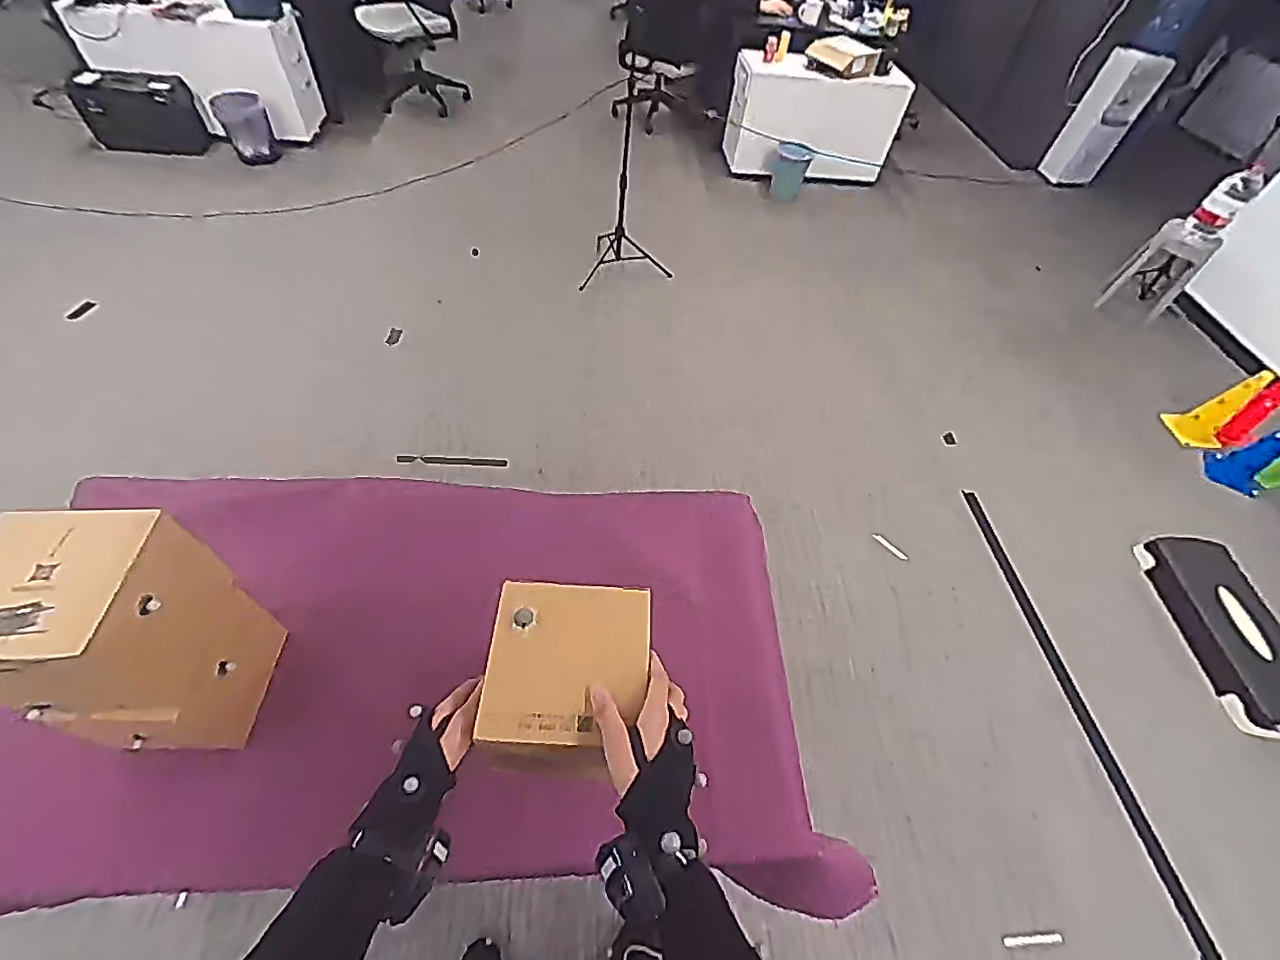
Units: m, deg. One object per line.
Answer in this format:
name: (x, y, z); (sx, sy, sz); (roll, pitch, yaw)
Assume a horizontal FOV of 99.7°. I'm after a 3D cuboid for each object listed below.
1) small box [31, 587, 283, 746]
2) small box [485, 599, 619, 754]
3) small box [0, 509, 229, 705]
small box: (-0.635, 0.258, 0.747); (0.168, 0.176, 0.179); (4, 53, -5)
small box: (-0.118, 0.291, 0.788); (0.168, 0.176, 0.179); (3, 52, -4)
small box: (-0.624, 0.151, 0.622); (0.168, 0.176, 0.179); (0, 53, -7)
